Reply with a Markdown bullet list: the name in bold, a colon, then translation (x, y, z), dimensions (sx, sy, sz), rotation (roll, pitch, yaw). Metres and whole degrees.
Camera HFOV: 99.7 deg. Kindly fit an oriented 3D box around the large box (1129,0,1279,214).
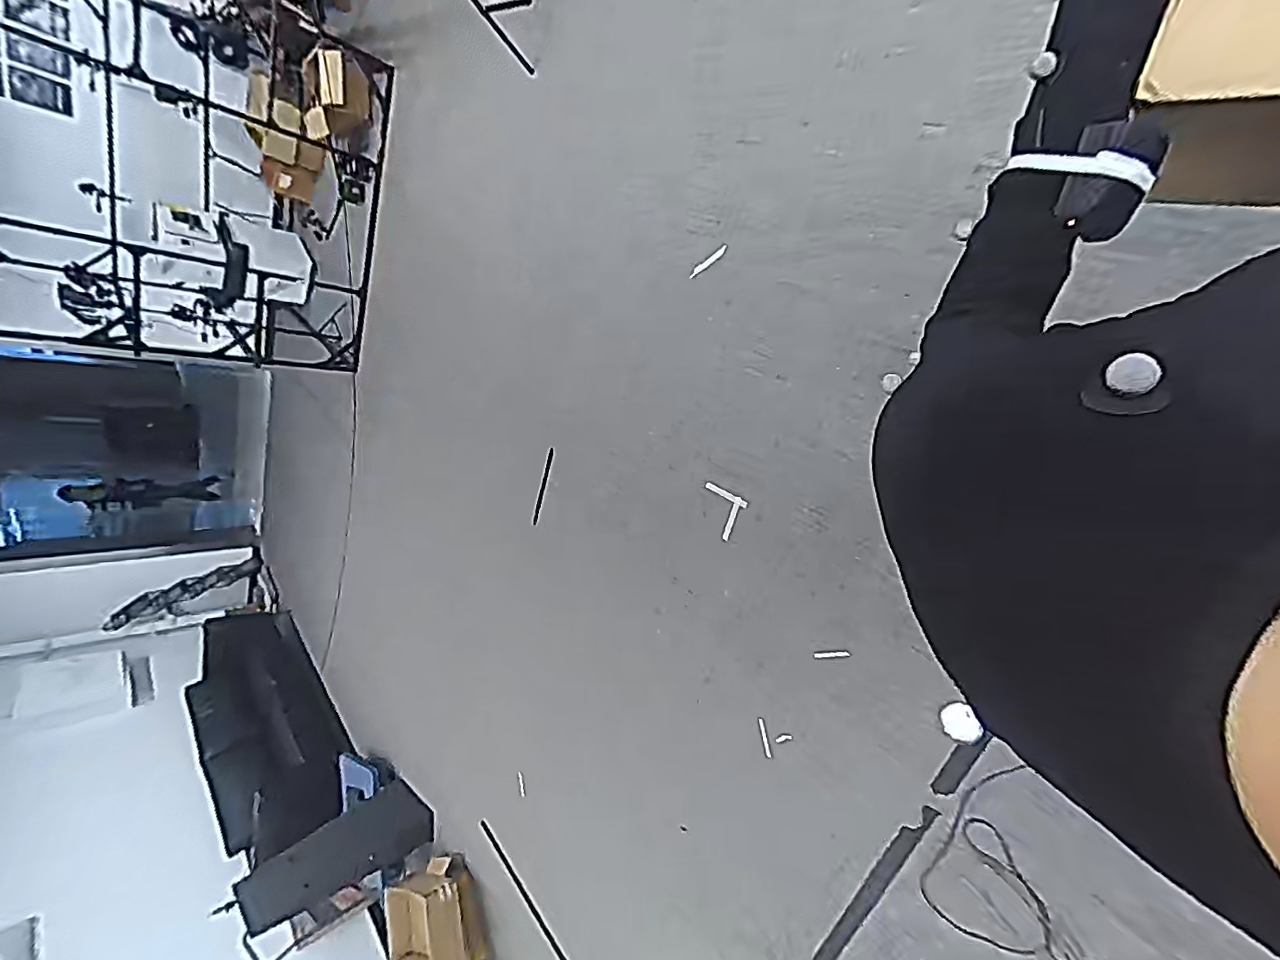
- **large box**: translation (0.598, -0.353, 0.314), dimensions (0.408, 0.320, 0.320), rotation (24, 115, 36)
